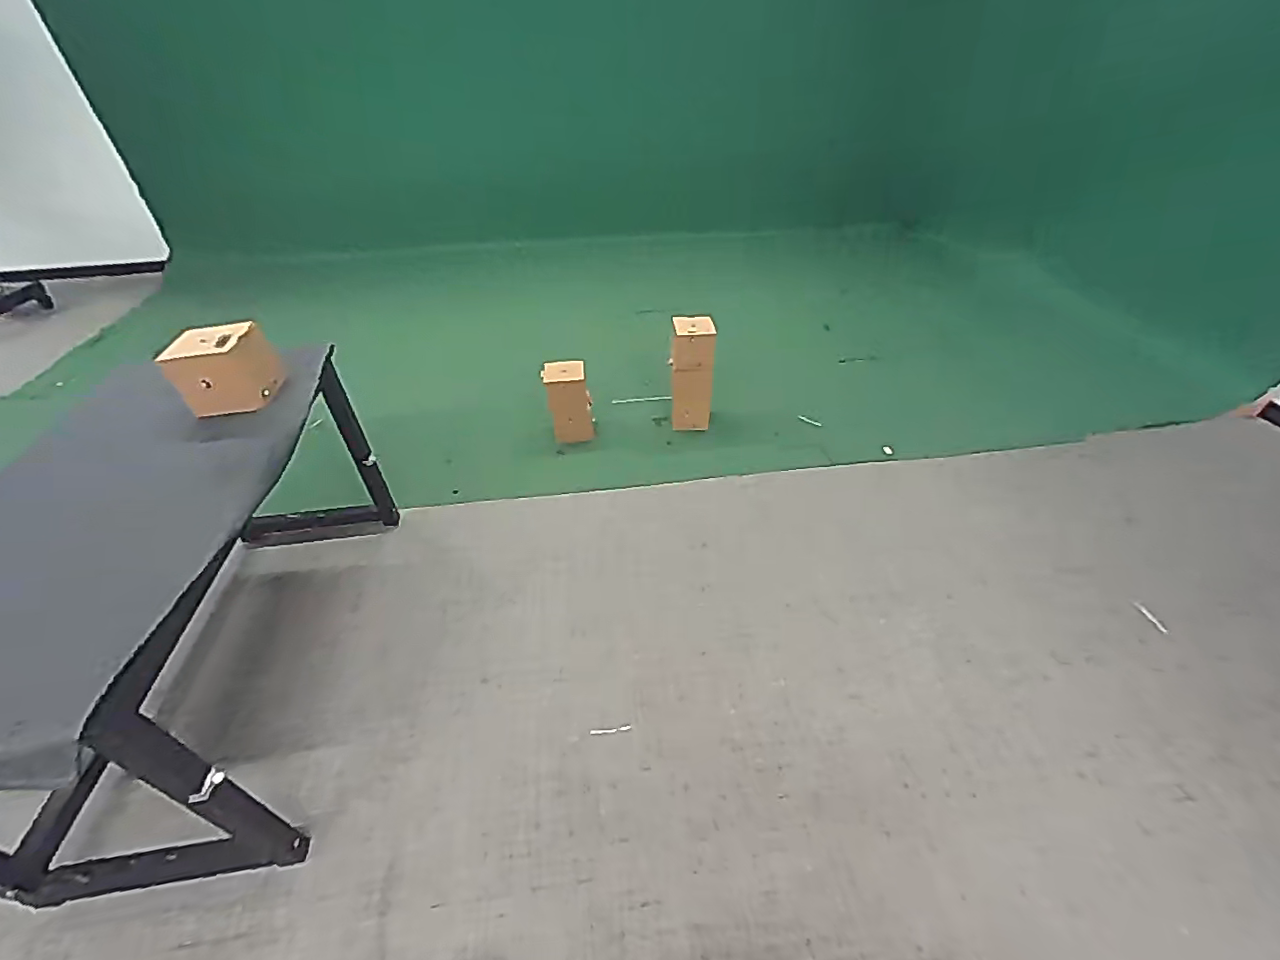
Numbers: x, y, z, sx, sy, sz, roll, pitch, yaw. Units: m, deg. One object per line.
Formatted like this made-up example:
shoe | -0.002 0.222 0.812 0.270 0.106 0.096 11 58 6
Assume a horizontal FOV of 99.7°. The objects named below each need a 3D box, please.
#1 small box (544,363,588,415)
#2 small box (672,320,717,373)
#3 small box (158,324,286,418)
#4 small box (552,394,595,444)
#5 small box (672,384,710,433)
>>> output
small box | -0.323 -0.399 2.387 0.179 0.176 0.168 -4 42 -4
small box | 0.231 -0.577 2.333 0.168 0.176 0.179 -2 40 -3
small box | -1.065 -0.281 1.399 0.179 0.176 0.168 -8 42 -3
small box | -0.308 -0.278 2.496 0.179 0.176 0.168 -6 42 -6
small box | 0.239 -0.336 2.557 0.168 0.176 0.179 0 41 0
